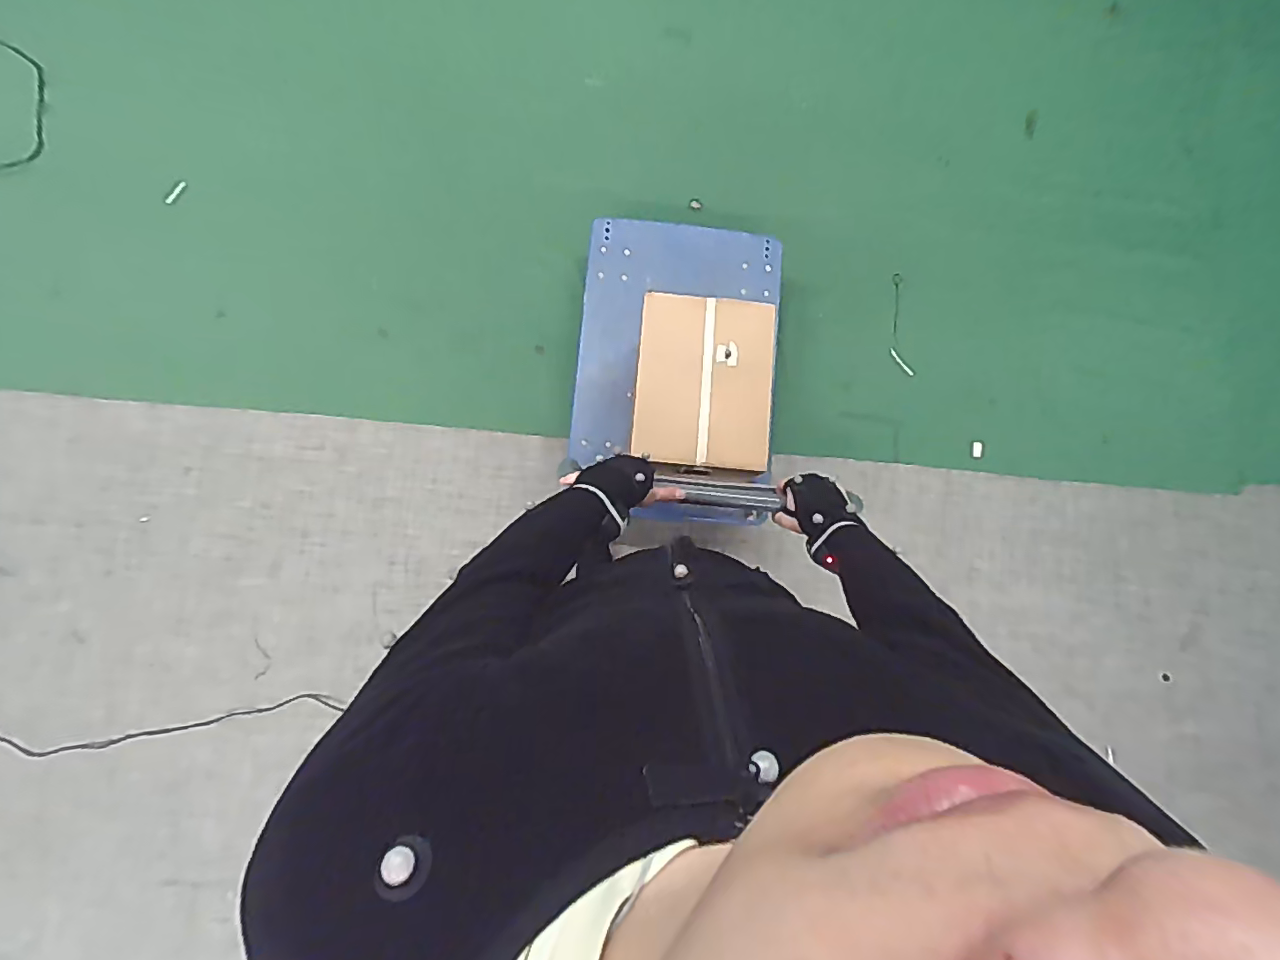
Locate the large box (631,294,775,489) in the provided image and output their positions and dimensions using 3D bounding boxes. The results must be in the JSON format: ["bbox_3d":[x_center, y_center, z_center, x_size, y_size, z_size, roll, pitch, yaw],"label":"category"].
[{"bbox_3d":[0.143,-0.200,1.369,0.320,0.320,0.408,5,81,-3],"label":"large box"}]
